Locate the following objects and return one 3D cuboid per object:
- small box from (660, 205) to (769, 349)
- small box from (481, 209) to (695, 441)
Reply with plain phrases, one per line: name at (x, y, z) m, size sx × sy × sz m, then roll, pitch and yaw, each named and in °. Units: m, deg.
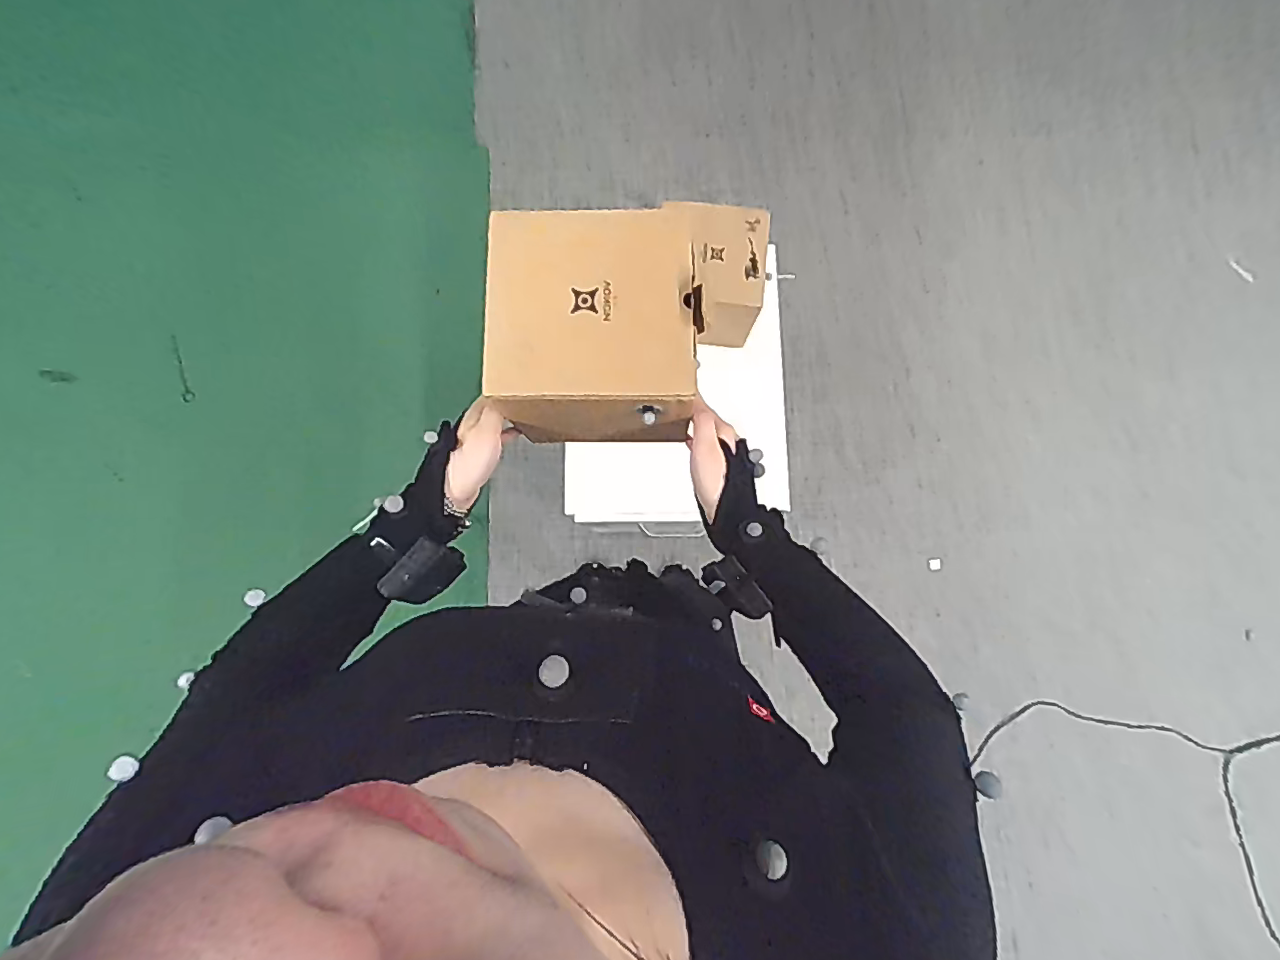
small box at (0.110, -0.336, 0.922) m, size 0.179 × 0.176 × 0.168 m, roll 6°, pitch 82°, yaw 1°
small box at (-0.040, -0.135, 0.525) m, size 0.179 × 0.176 × 0.168 m, roll 0°, pitch 80°, yaw 0°
